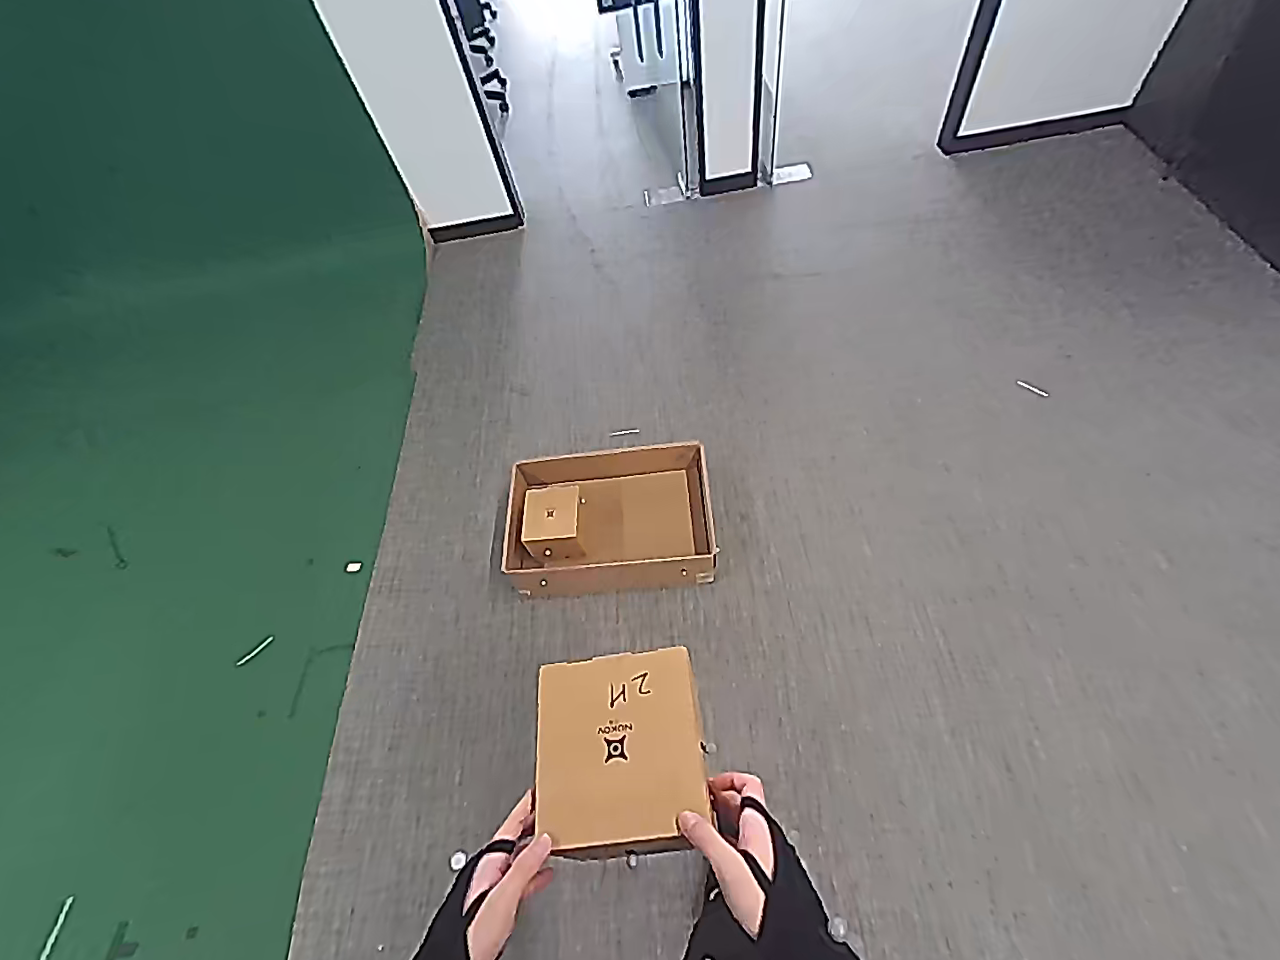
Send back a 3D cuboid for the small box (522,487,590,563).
[{"bbox_3d":[-0.250,0.144,1.655,0.168,0.176,0.179,-5,56,5],"label":"small box"}]
